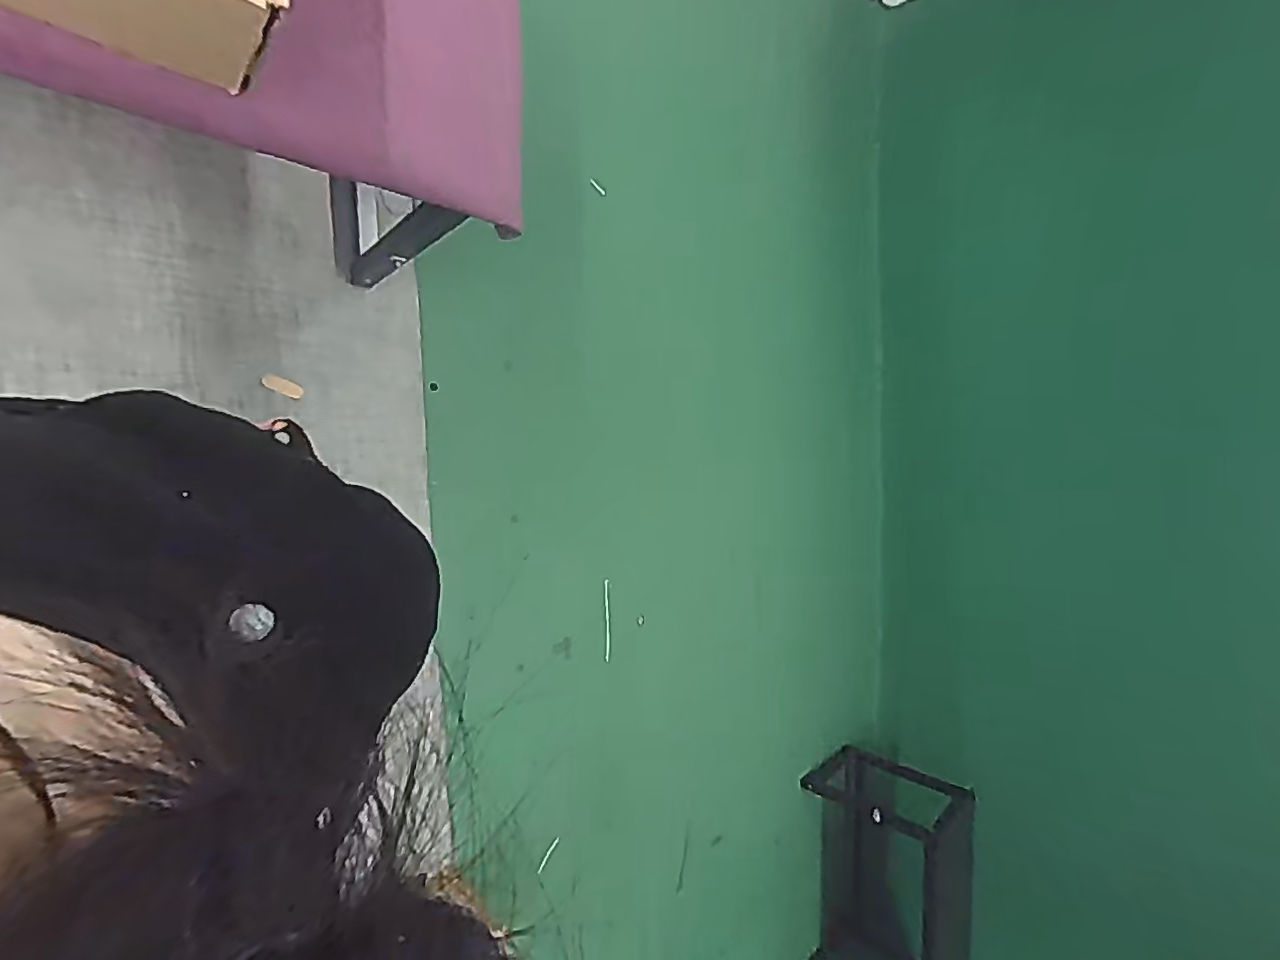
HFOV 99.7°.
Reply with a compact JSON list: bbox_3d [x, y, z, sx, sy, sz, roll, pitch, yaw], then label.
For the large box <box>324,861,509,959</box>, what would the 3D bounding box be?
[{"bbox_3d":[-0.597,1.357,1.441,0.408,0.320,0.320,-24,109,-42],"label":"large box"}]
